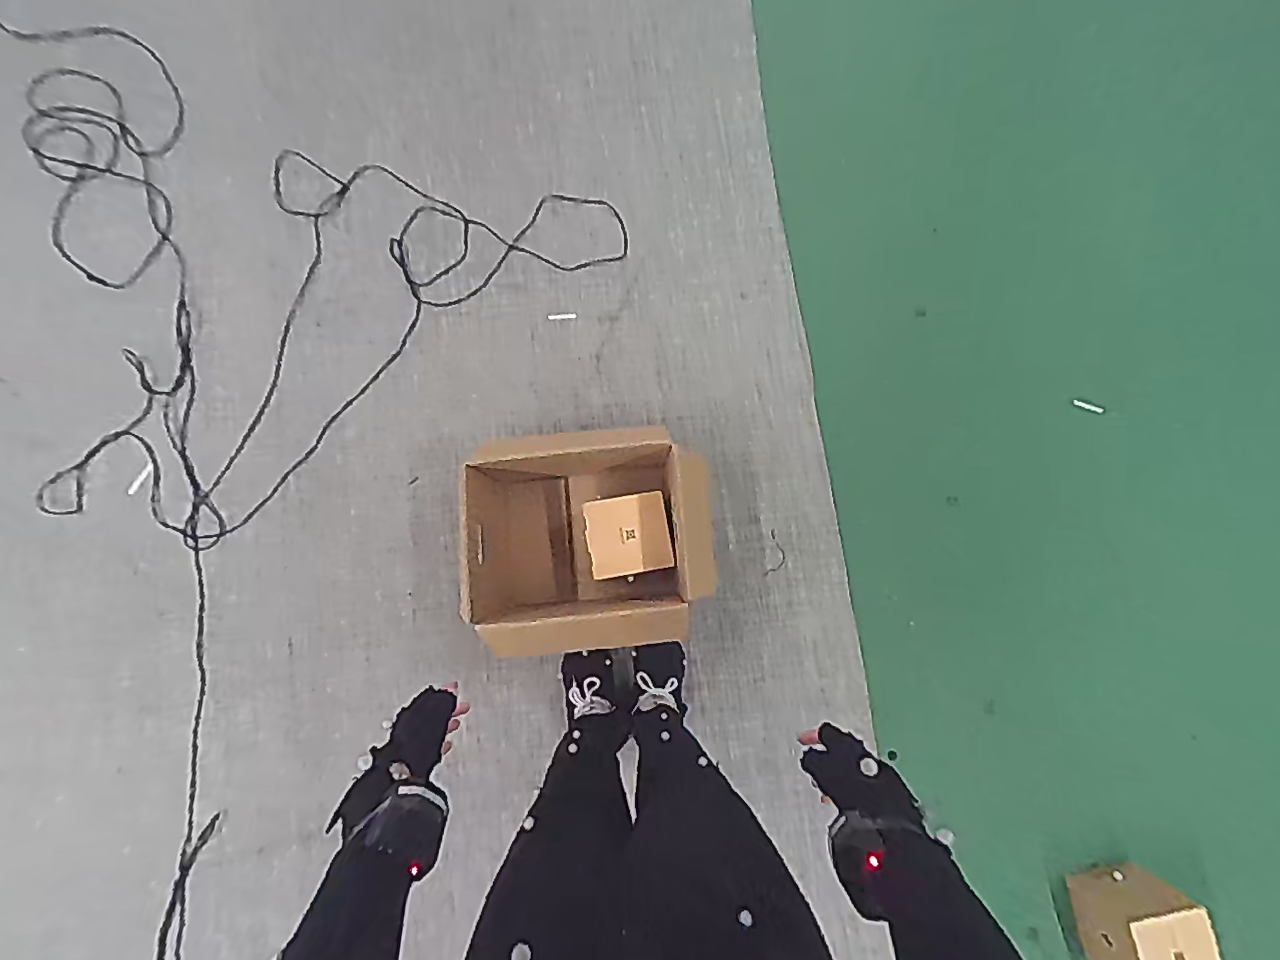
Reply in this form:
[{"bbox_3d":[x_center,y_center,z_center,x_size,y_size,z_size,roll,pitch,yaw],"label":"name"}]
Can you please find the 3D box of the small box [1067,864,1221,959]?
[{"bbox_3d":[1.059,0.962,1.141,0.168,0.176,0.179,-9,82,-2],"label":"small box"}]
